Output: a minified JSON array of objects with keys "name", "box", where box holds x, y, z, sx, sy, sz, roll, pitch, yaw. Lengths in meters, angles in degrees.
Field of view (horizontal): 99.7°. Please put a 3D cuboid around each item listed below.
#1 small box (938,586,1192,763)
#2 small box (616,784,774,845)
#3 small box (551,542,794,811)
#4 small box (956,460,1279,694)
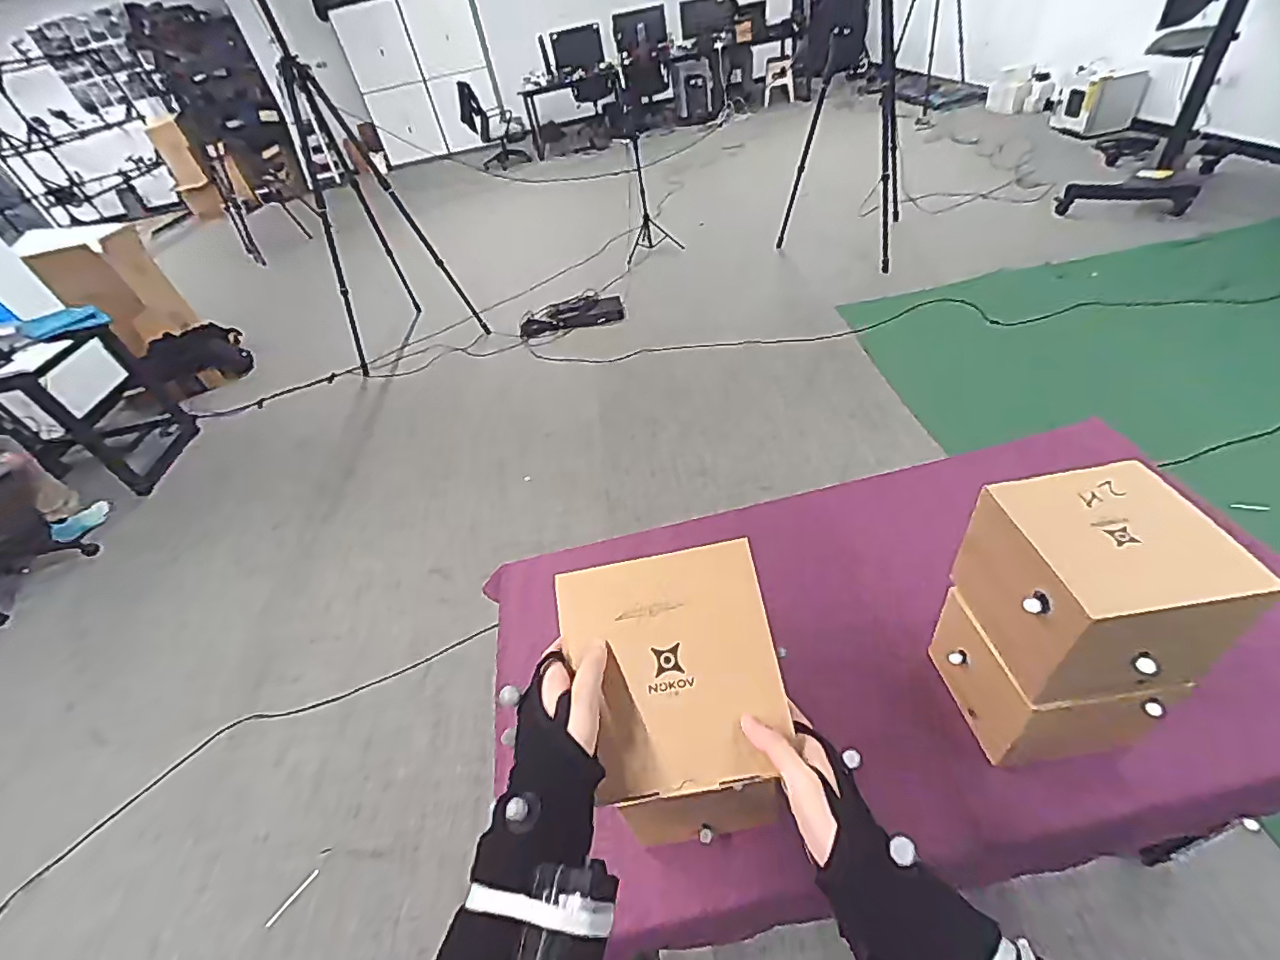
[{"name":"small box","box":[0.501,0.232,0.678,0.179,0.176,0.168,-11,42,2]},{"name":"small box","box":[0.061,0.335,0.683,0.179,0.176,0.168,-12,42,1]},{"name":"small box","box":[0.030,0.170,0.488,0.168,0.176,0.179,-12,70,4]},{"name":"small box","box":[0.471,0.109,0.573,0.168,0.176,0.179,-10,42,4]}]
